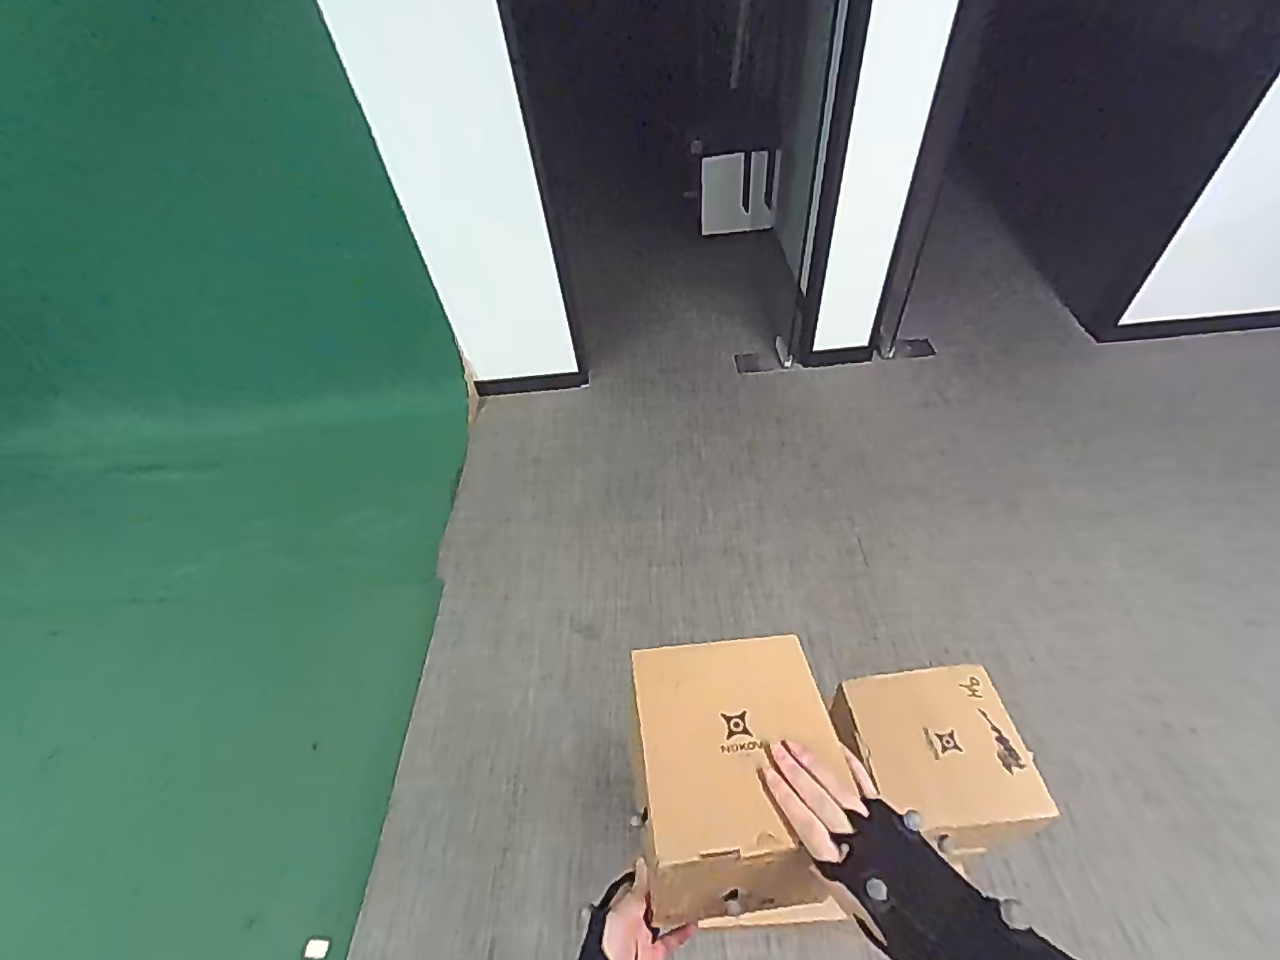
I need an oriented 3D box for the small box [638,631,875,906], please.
[{"bbox_3d":[0.089,0.272,0.520,0.168,0.176,0.179,-3,39,-6],"label":"small box"}]
